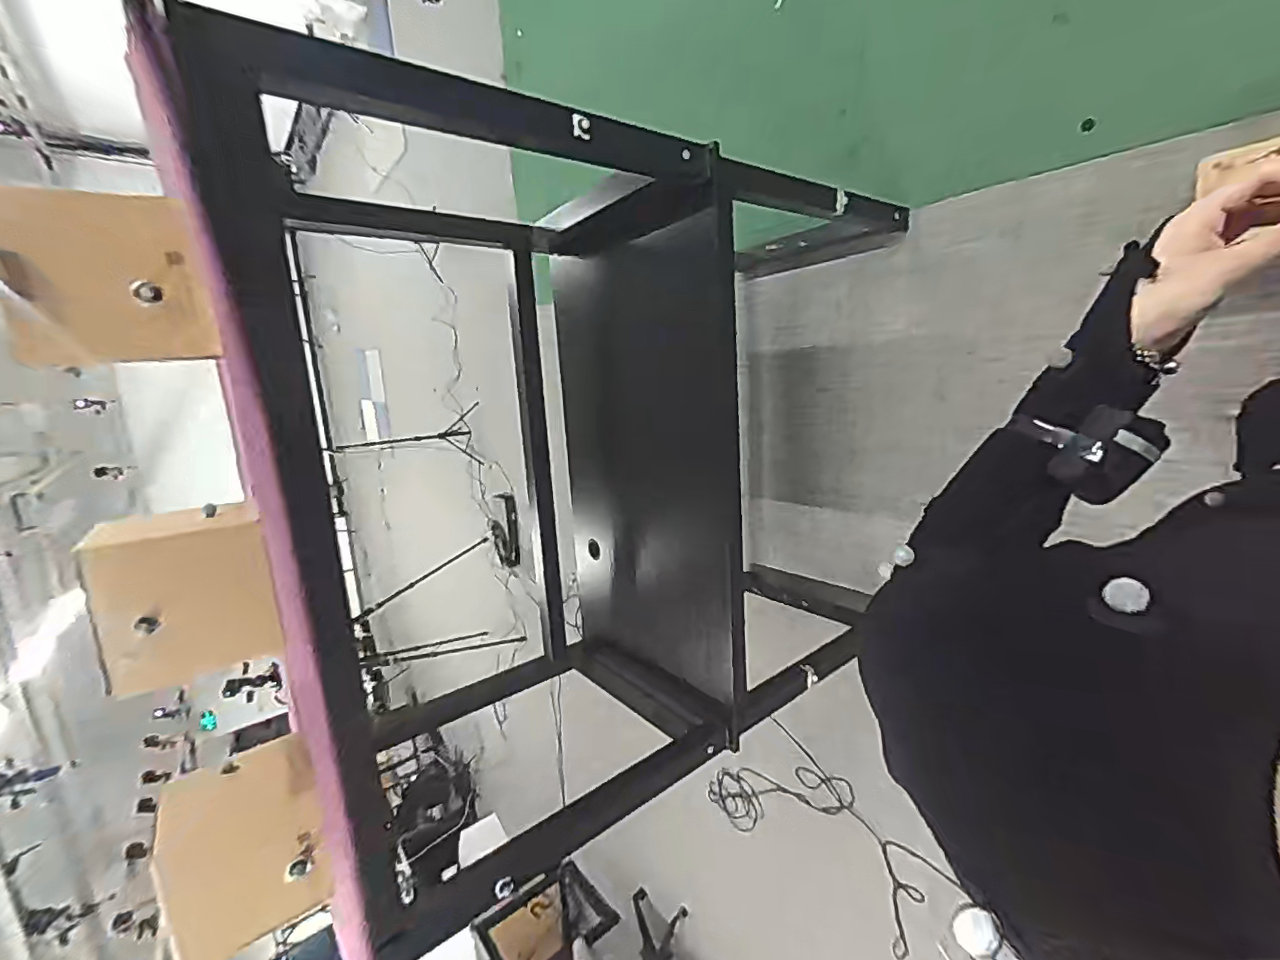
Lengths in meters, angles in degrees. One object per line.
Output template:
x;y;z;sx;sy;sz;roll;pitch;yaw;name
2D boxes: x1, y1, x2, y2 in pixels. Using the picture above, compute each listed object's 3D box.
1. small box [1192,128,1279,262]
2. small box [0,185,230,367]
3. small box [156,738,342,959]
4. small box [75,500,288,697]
1.029;-0.458;0.870;0.168;0.176;0.179;8;107;52;small box
-0.587;-0.217;0.616;0.179;0.176;0.168;15;113;52;small box
-0.517;0.480;0.728;0.179;0.176;0.168;4;104;51;small box
-0.565;0.135;0.691;0.168;0.176;0.179;11;108;52;small box
